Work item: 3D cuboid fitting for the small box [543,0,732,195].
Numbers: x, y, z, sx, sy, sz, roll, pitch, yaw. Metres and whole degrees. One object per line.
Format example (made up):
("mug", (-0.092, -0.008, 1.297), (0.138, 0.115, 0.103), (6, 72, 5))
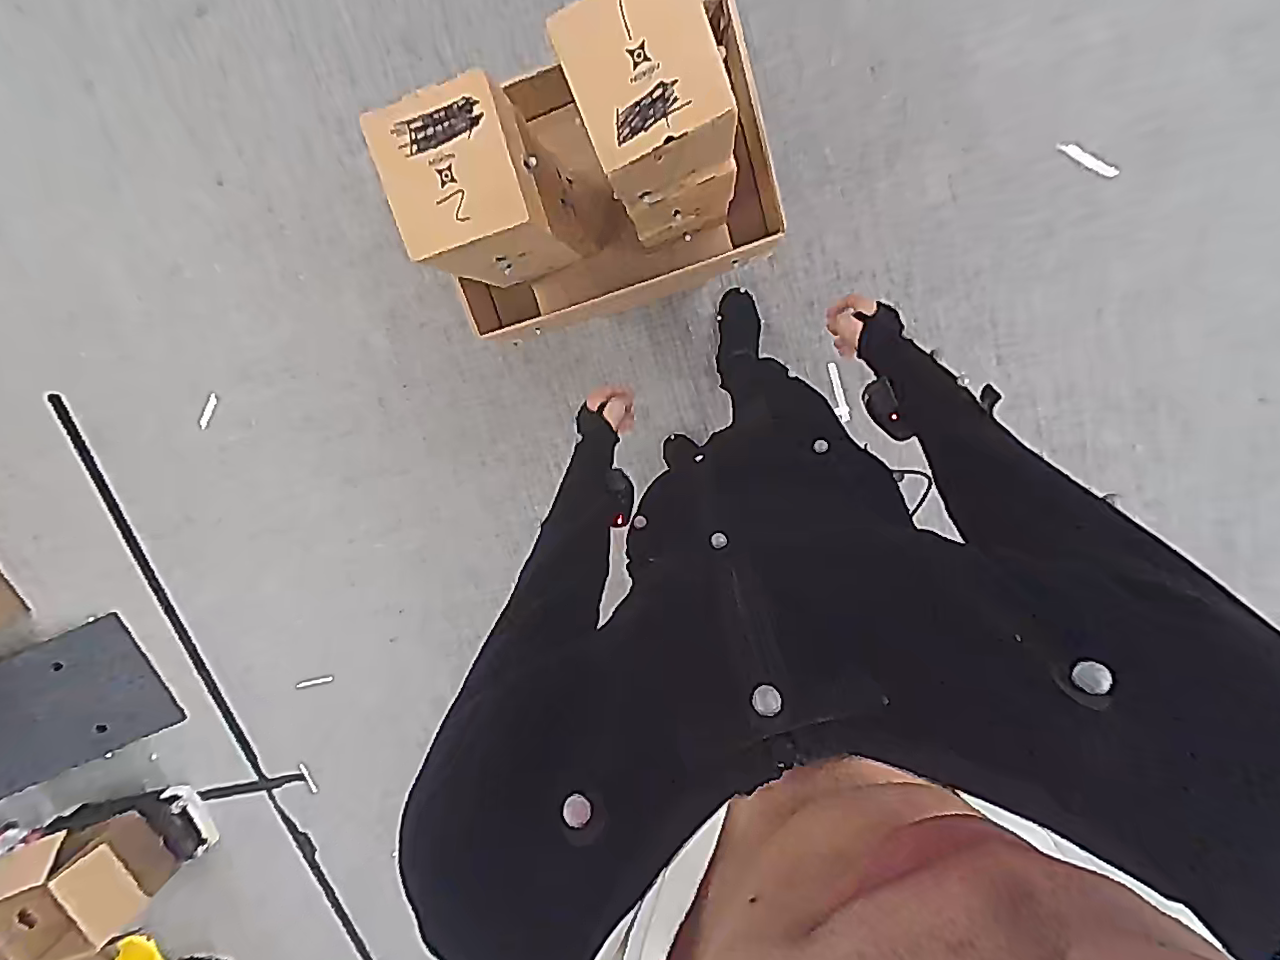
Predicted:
("small box", (0.008, -0.482, 0.674), (0.168, 0.176, 0.179), (-21, 101, 11))

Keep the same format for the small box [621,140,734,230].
("small box", (0.036, -0.514, 0.833), (0.168, 0.176, 0.179), (-18, 102, 11))

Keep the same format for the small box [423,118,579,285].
("small box", (-0.214, -0.437, 0.881), (0.168, 0.176, 0.179), (-15, 101, 11))
